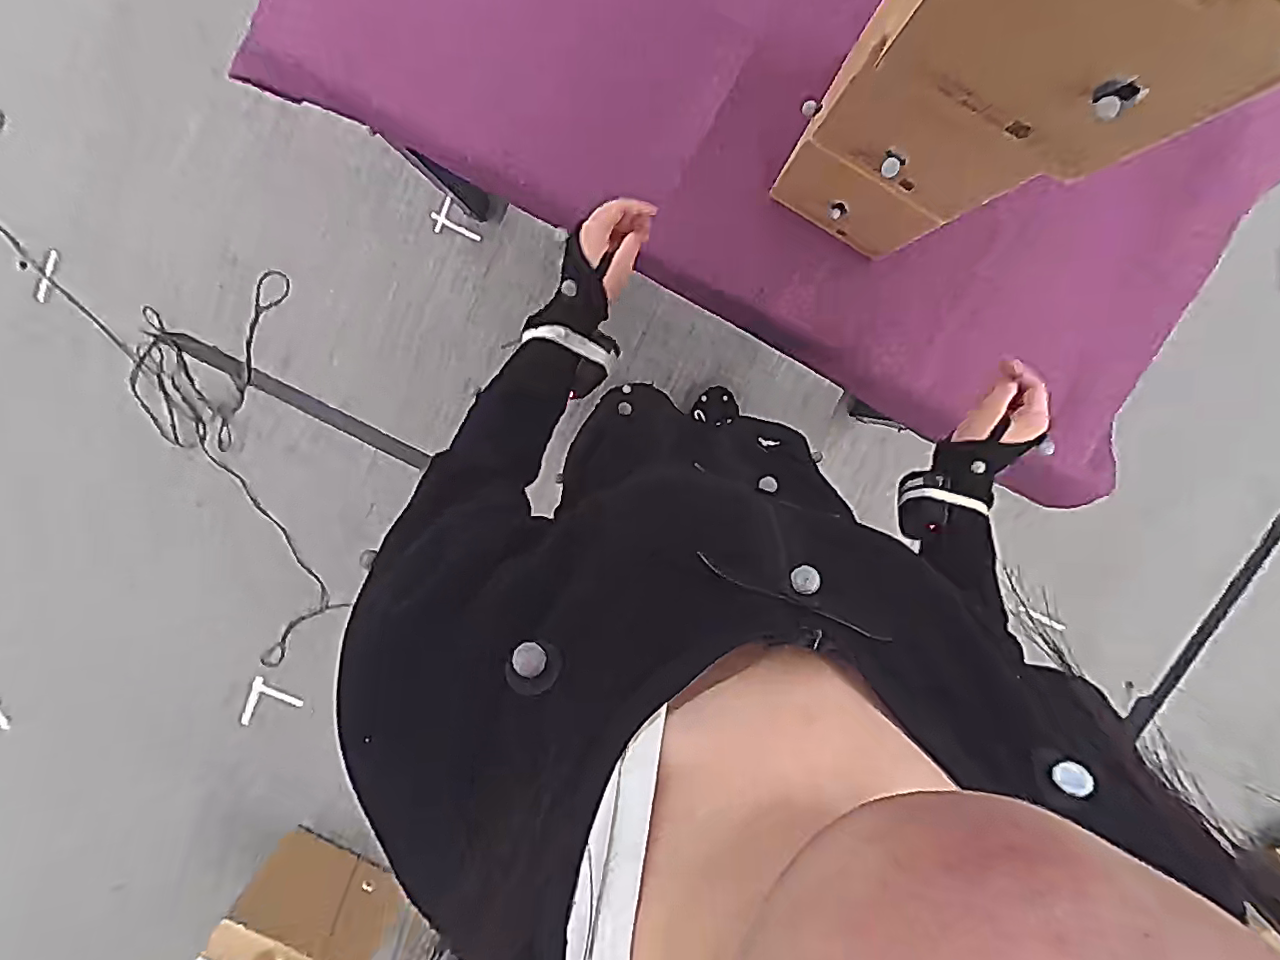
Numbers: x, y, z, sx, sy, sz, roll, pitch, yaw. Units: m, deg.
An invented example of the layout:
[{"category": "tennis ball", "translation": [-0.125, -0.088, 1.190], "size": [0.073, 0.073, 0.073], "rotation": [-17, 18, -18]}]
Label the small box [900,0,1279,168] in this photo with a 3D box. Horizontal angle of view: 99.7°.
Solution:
[{"category": "small box", "translation": [0.274, -0.309, 0.288], "size": [0.168, 0.176, 0.179], "rotation": [26, 99, -5]}]

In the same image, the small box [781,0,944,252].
[{"category": "small box", "translation": [0.278, -0.386, 0.605], "size": [0.168, 0.176, 0.179], "rotation": [30, 99, -6]}]

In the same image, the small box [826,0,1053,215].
[{"category": "small box", "translation": [0.283, -0.358, 0.444], "size": [0.168, 0.176, 0.179], "rotation": [30, 100, -5]}]
